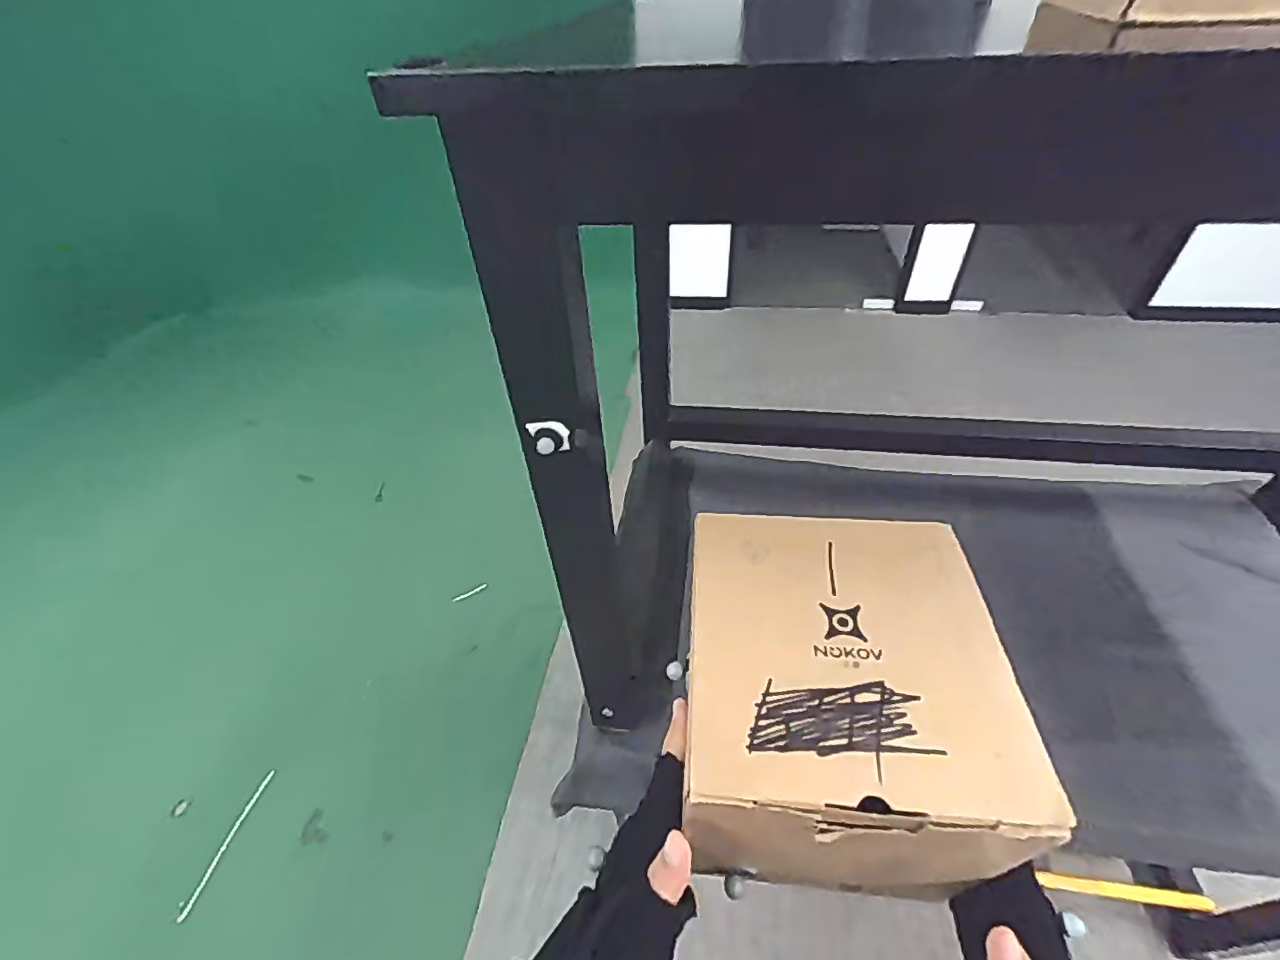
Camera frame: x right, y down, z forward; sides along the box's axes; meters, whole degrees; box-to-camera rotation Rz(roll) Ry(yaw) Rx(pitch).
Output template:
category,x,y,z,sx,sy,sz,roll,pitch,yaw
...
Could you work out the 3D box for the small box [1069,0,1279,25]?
category,x,y,z,sx,sy,sz,roll,pitch,yaw
small box,0.319,-0.306,0.227,0.168,0.176,0.179,10,46,14
